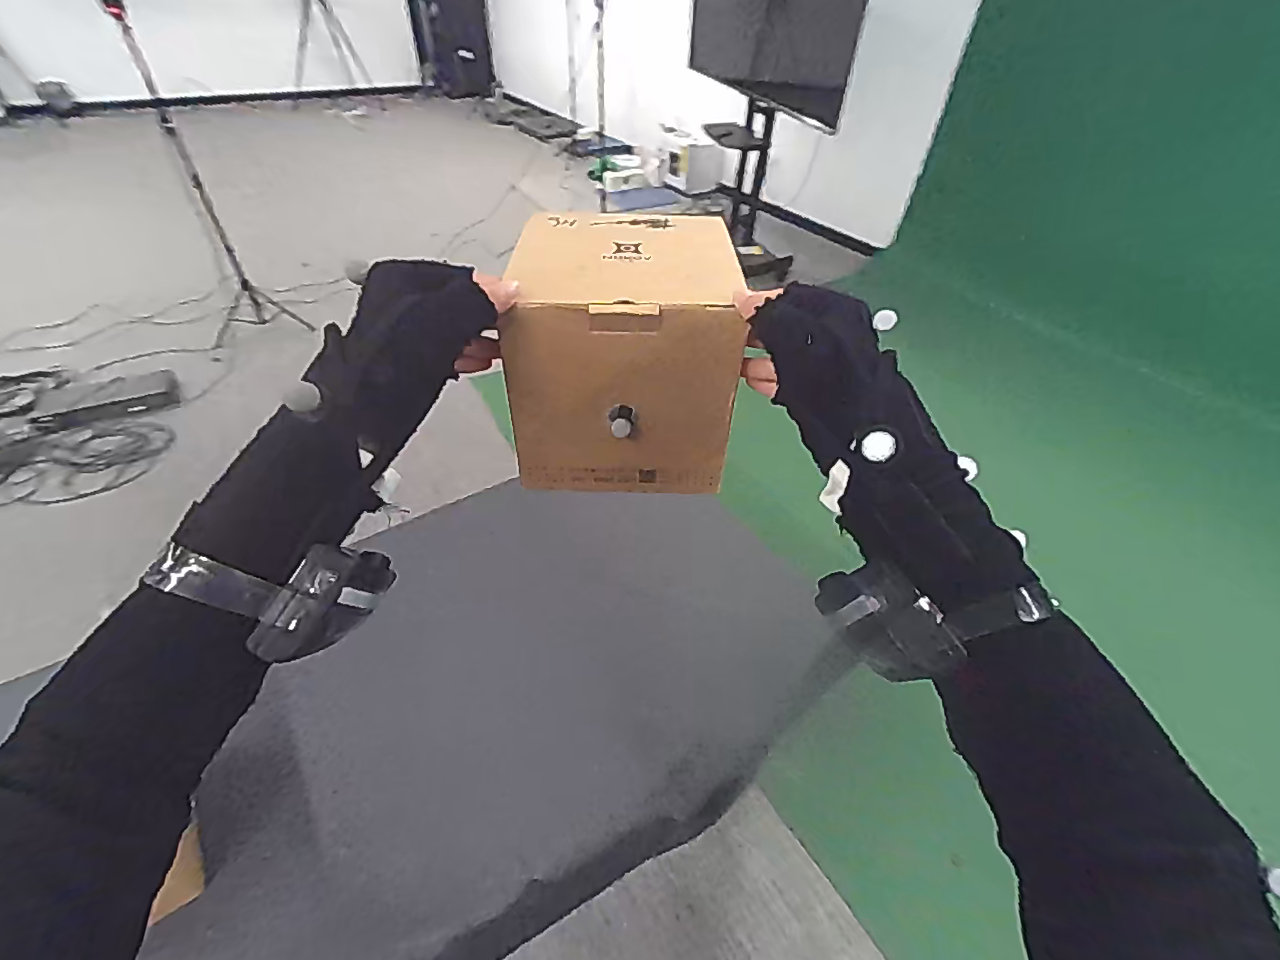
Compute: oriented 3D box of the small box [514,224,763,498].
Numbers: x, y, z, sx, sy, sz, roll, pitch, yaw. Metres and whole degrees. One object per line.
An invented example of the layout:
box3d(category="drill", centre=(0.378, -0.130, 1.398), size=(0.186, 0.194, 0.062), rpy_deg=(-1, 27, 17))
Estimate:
box3d(category="small box", centre=(0.001, -0.100, 0.461), size=(0.168, 0.176, 0.179), rpy_deg=(2, 43, 0))
